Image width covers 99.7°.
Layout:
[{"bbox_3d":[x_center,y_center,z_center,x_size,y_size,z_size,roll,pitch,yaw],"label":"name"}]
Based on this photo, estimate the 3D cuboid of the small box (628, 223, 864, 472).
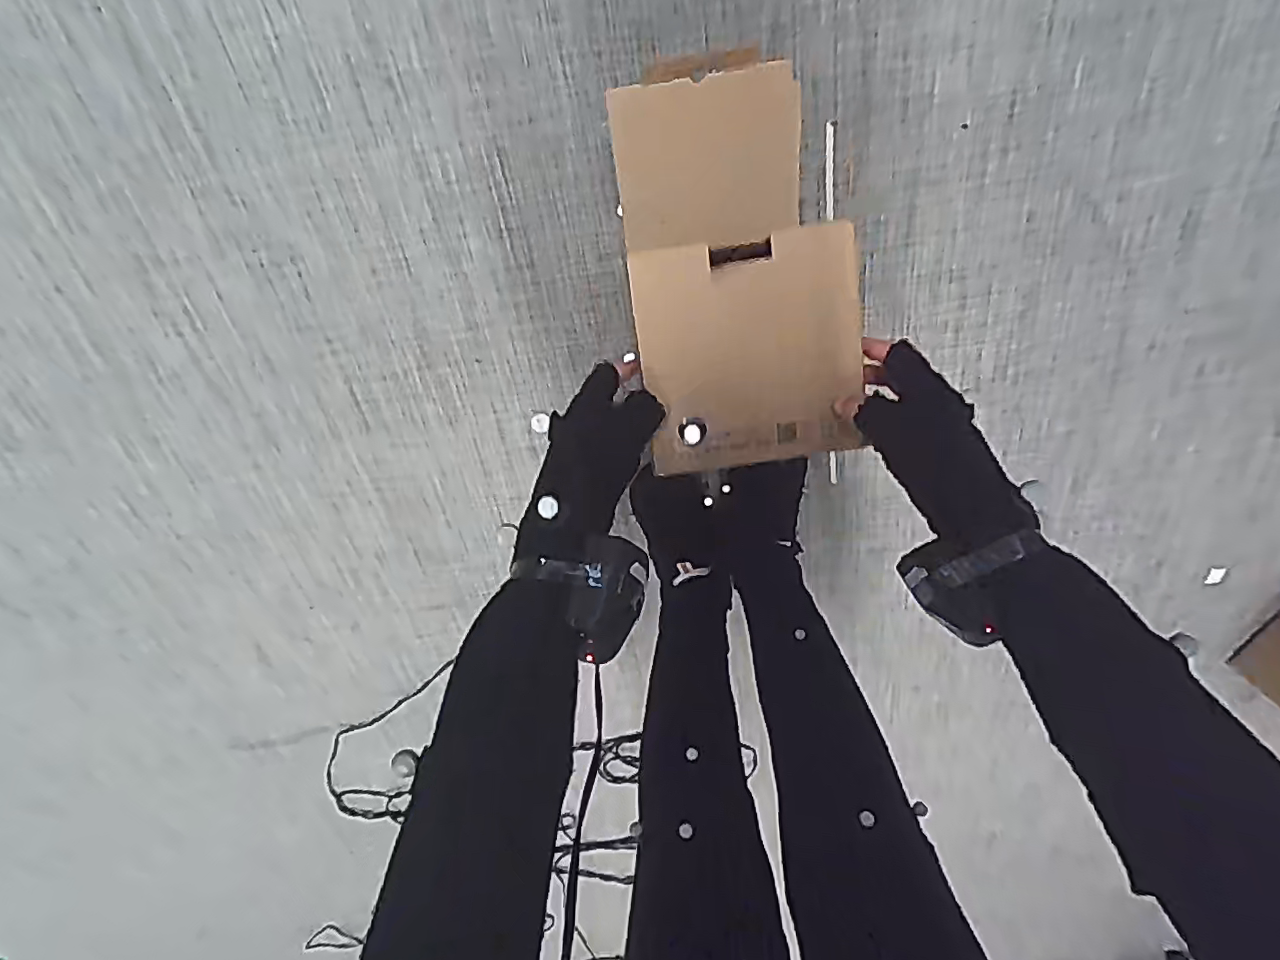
[{"bbox_3d":[0.087,-0.107,0.482,0.168,0.179,0.176,-8,102,3],"label":"small box"}]
